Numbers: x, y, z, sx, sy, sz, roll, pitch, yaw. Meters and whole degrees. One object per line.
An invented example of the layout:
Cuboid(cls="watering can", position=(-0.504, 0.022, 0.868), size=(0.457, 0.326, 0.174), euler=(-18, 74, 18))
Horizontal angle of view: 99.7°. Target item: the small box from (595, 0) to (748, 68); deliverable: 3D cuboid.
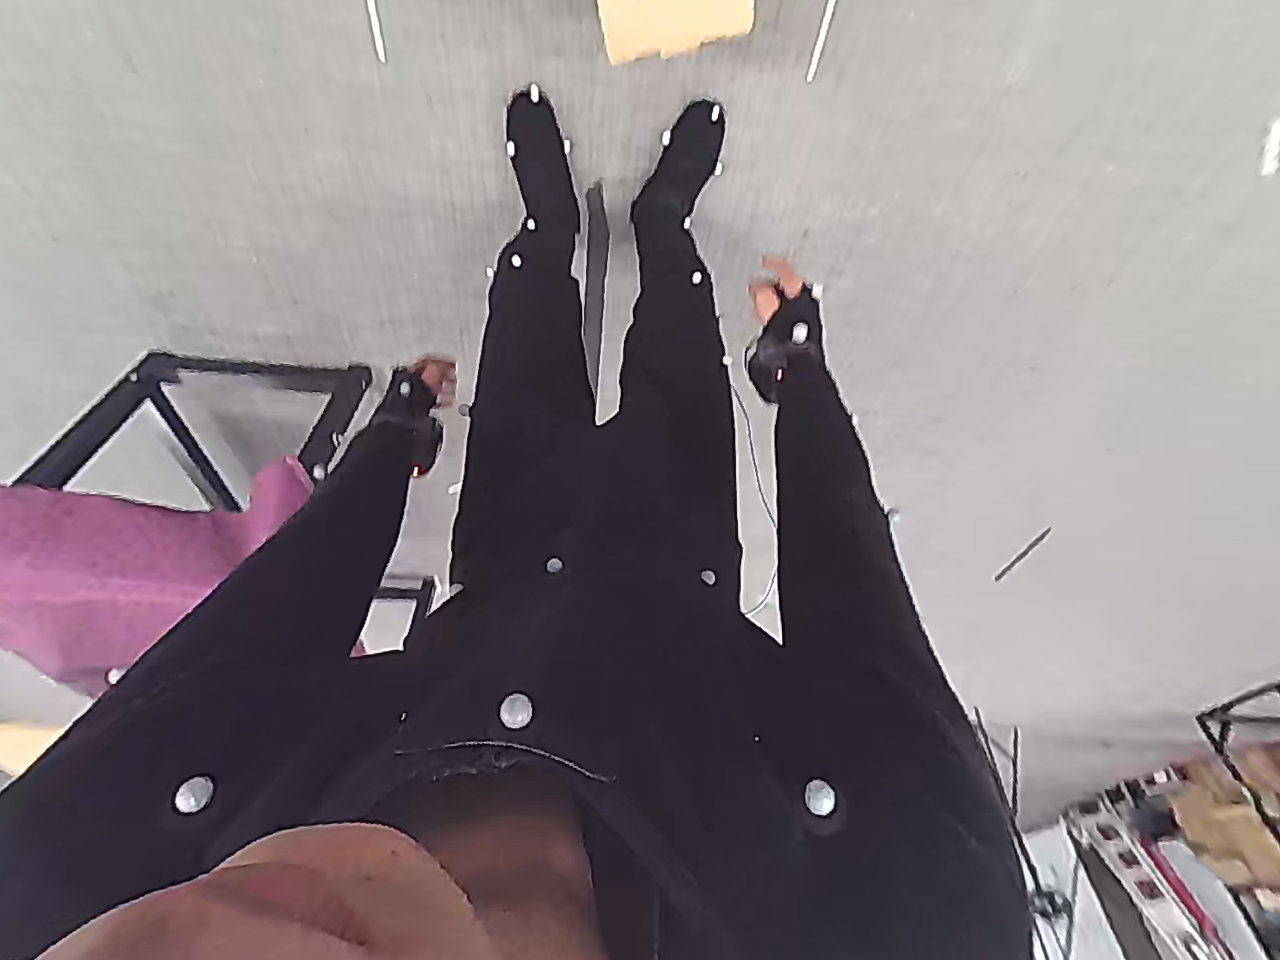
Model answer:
Cuboid(cls="small box", position=(0.027, -0.603, 0.605), size=(0.168, 0.176, 0.179), euler=(-8, 138, 7))
